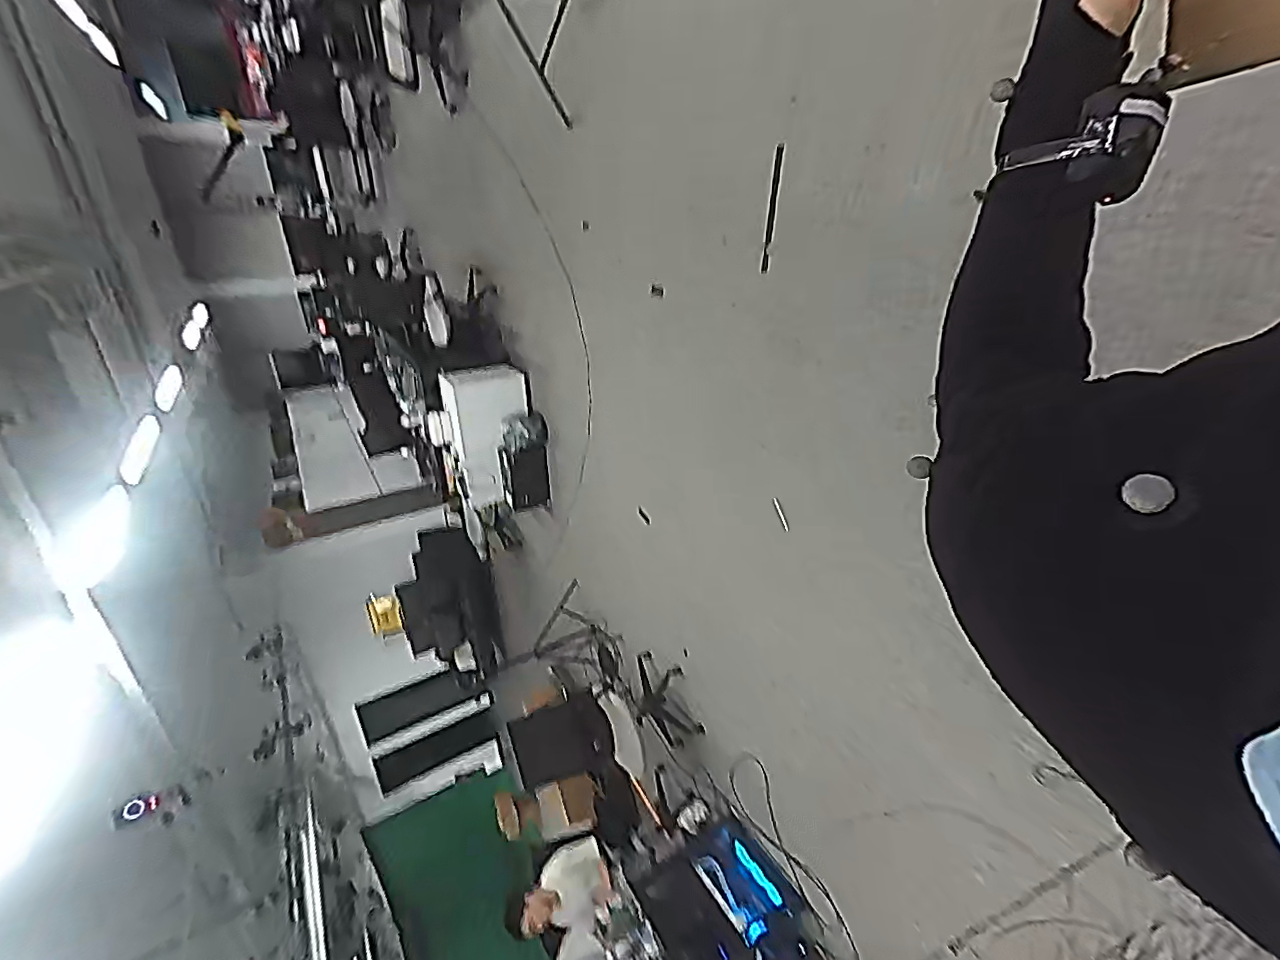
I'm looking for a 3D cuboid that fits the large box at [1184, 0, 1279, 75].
[{"bbox_3d":[0.572,-0.454,0.229,0.408,0.320,0.320,19,131,56],"label":"large box"}]
